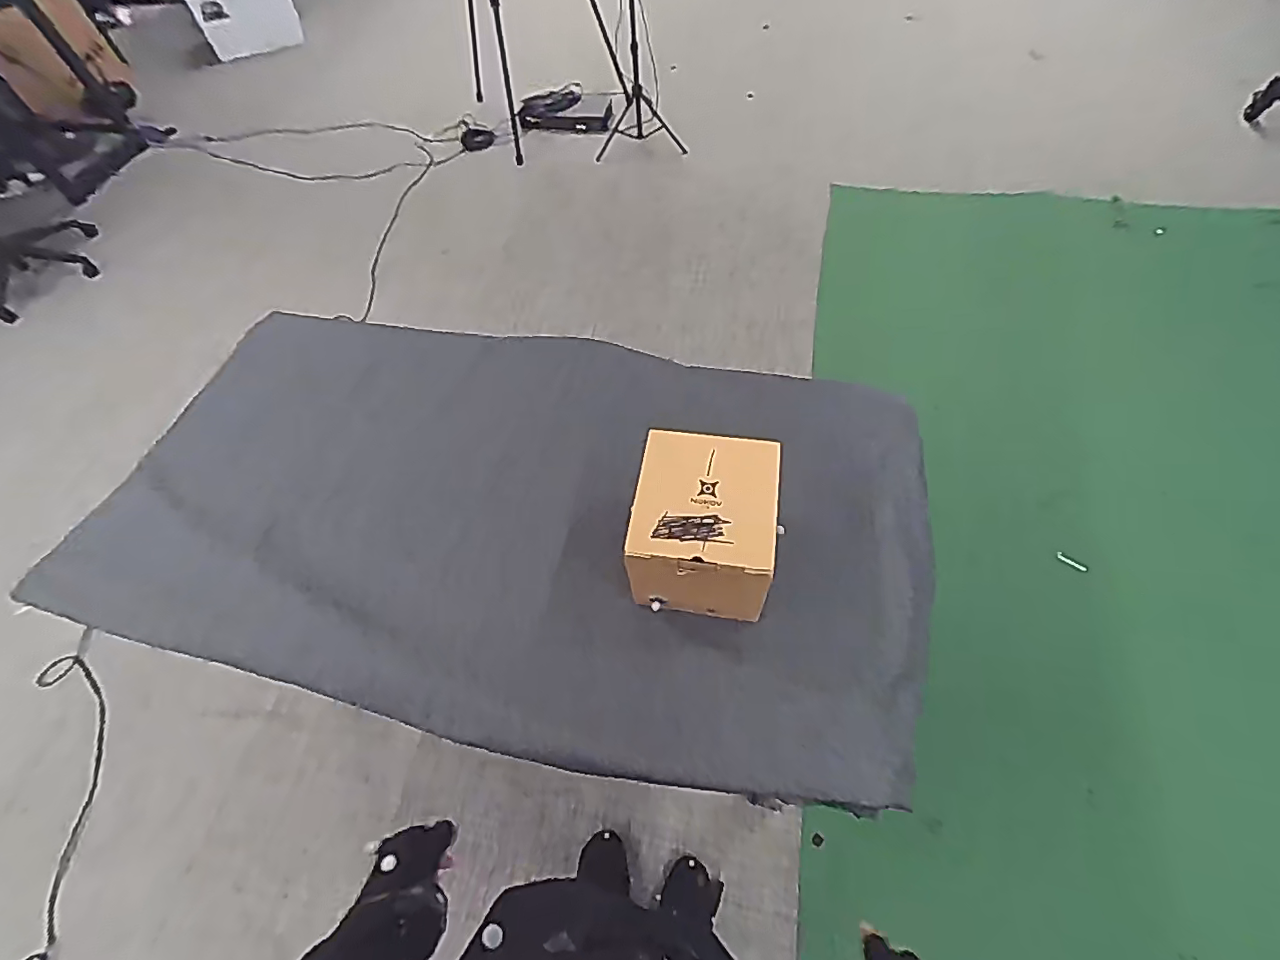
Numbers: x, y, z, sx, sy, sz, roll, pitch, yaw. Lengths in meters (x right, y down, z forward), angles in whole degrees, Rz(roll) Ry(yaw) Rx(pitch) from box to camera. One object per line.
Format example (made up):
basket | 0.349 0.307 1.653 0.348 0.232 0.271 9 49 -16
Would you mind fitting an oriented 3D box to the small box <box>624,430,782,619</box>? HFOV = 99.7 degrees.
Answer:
small box | 0.083 0.062 0.689 0.168 0.176 0.179 7 58 9
